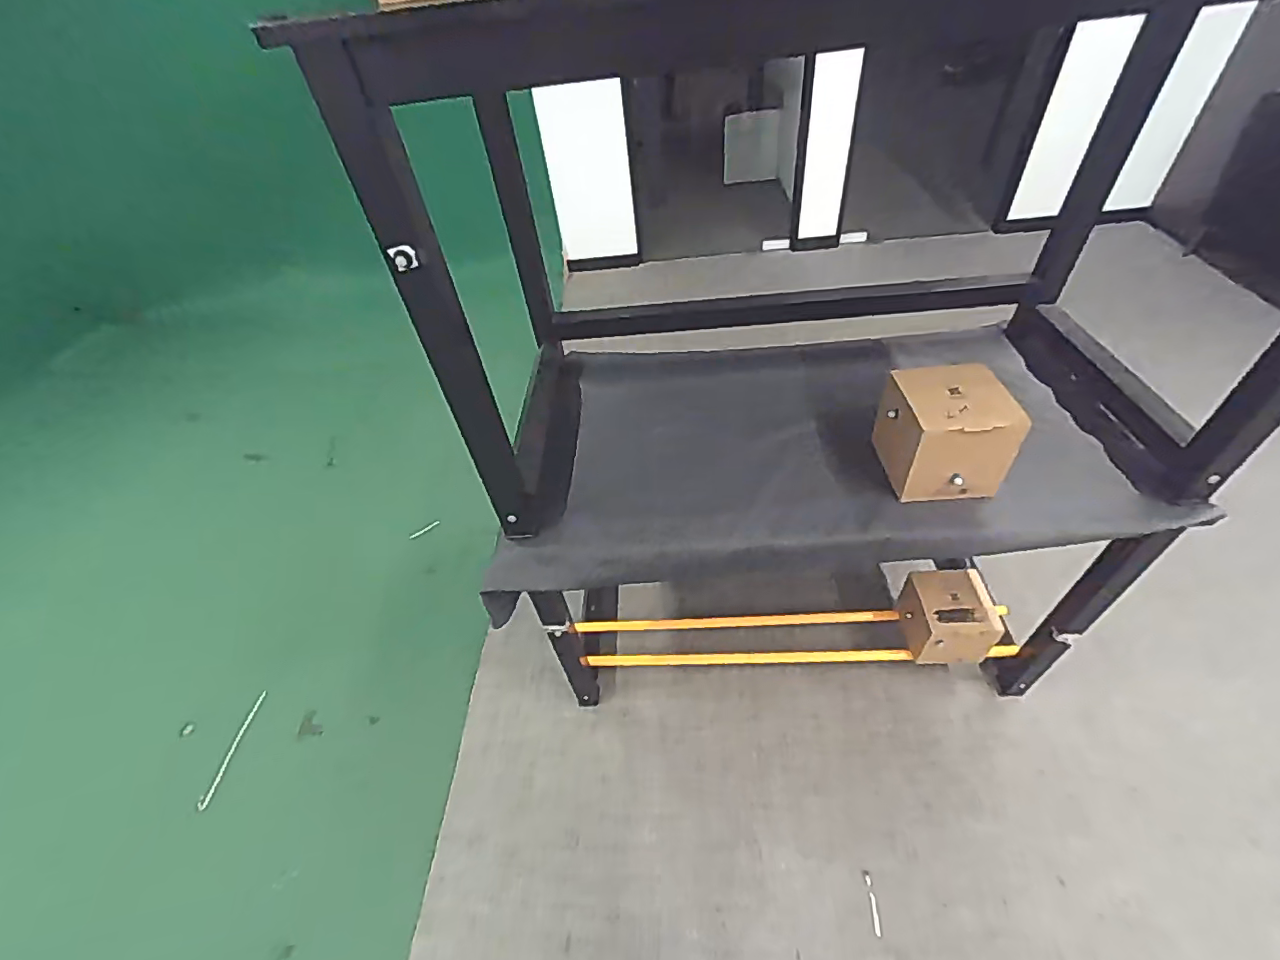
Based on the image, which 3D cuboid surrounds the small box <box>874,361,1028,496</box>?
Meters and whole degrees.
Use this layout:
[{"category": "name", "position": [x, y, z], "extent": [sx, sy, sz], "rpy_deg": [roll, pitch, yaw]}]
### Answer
[{"category": "small box", "position": [0.538, -0.092, 0.967], "extent": [0.168, 0.176, 0.179], "rpy_deg": [-4, 44, 5]}]
